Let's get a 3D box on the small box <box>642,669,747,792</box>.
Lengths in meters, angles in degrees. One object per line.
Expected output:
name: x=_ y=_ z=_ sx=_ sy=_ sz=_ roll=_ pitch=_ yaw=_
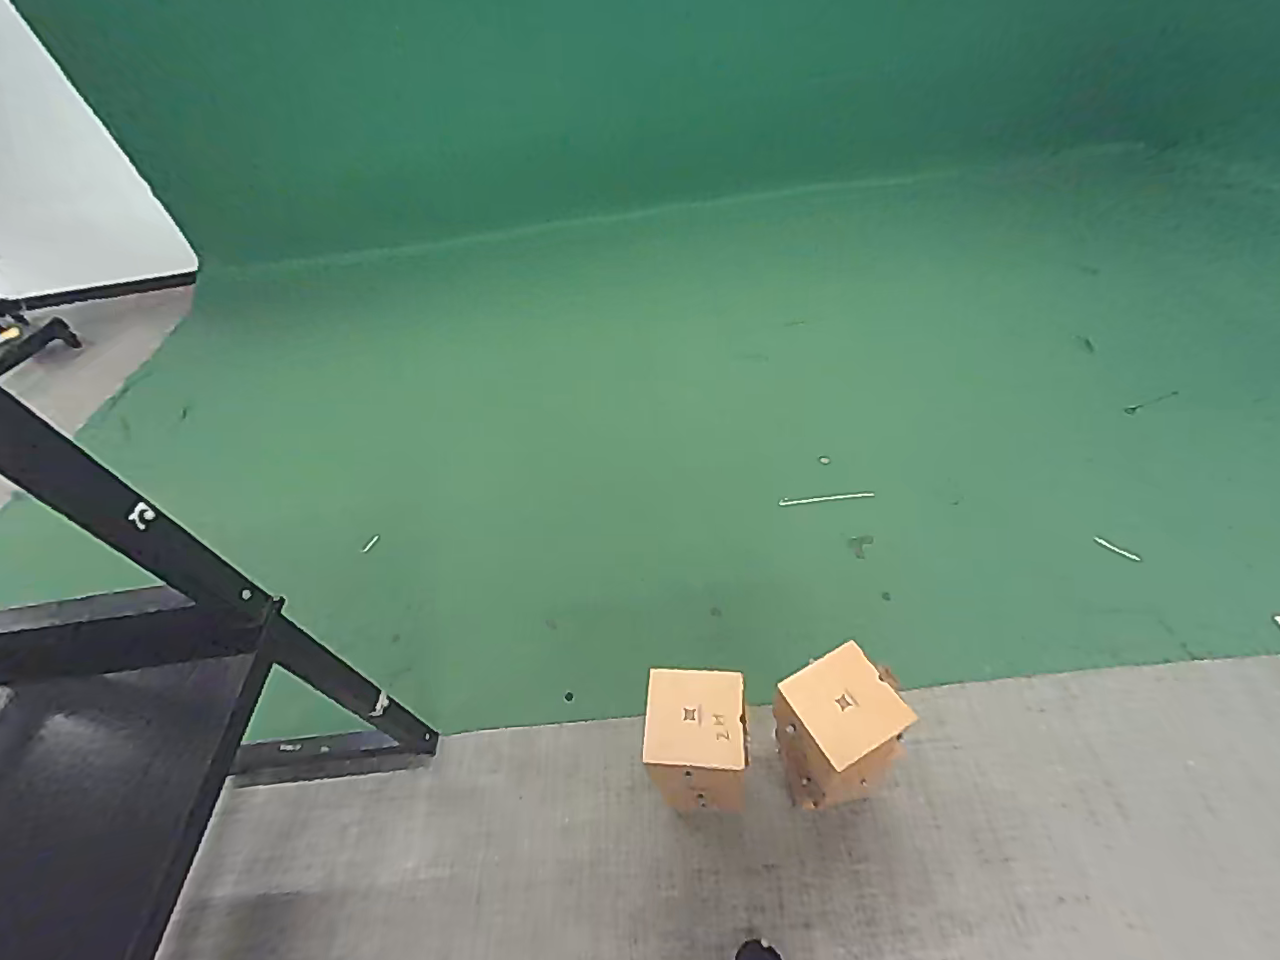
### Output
small box: x=0.108 y=0.466 z=1.003 sx=0.179 sy=0.176 sz=0.168 roll=0 pitch=49 yaw=10

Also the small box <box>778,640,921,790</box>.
small box: x=0.369 y=0.434 z=0.992 sx=0.179 sy=0.176 sz=0.168 roll=-25 pitch=51 yaw=-13

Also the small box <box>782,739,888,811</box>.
small box: x=0.433 y=0.638 z=1.239 sx=0.179 sy=0.176 sz=0.168 roll=-12 pitch=49 yaw=-2

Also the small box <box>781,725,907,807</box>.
small box: x=0.405 y=0.541 z=1.111 sx=0.179 sy=0.176 sz=0.168 roll=-22 pitch=51 yaw=-10

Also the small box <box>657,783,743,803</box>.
small box: x=0.129 y=0.565 z=1.134 sx=0.168 sy=0.176 sz=0.179 roll=-3 pitch=49 yaw=8
